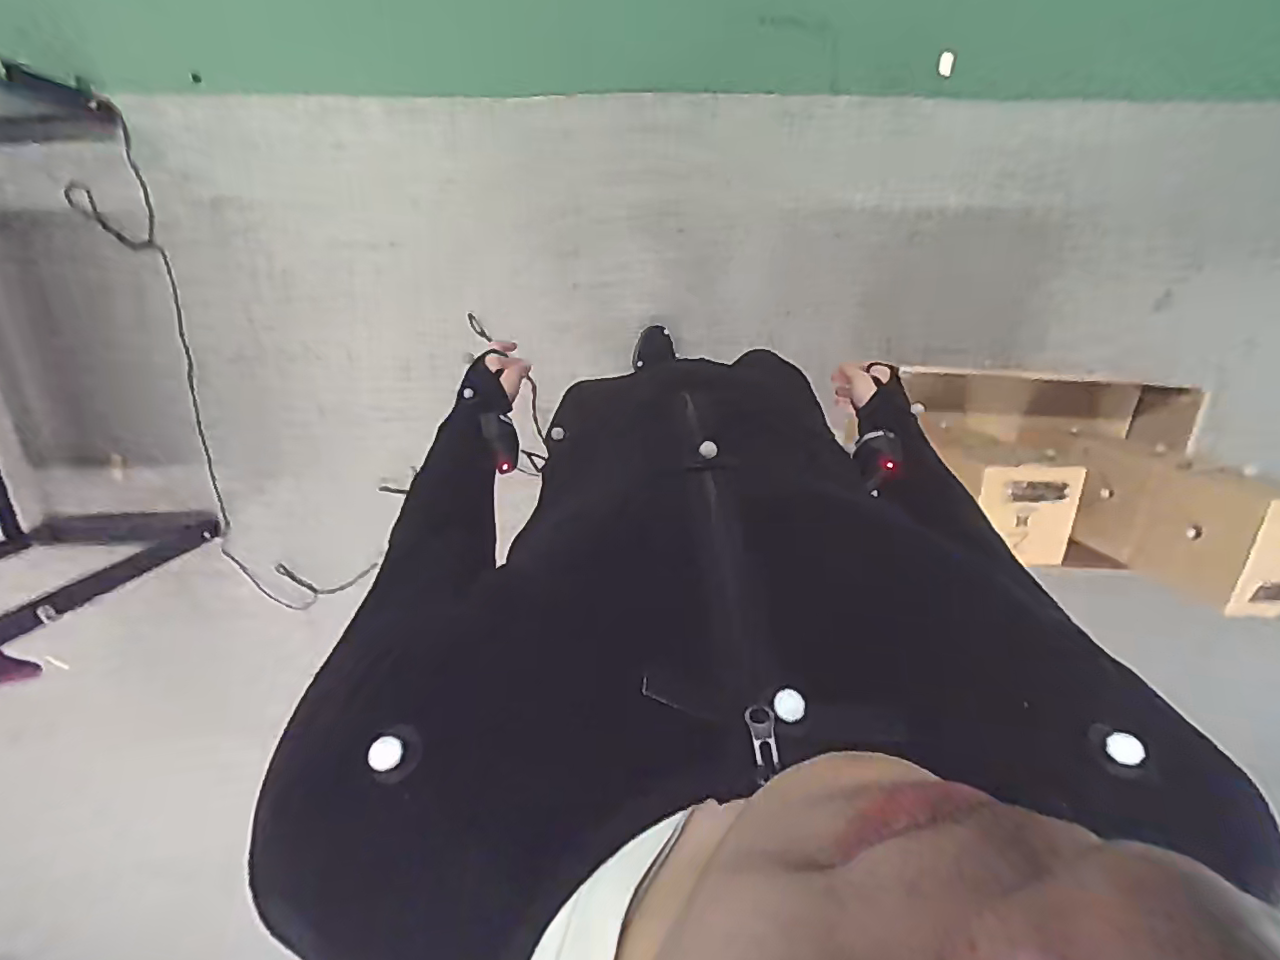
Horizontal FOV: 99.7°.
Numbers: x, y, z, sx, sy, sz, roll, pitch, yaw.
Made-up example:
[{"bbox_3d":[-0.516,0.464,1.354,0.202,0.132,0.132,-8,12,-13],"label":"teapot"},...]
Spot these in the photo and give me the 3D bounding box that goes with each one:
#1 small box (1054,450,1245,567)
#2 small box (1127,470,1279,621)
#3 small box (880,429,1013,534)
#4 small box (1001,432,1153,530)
[{"bbox_3d":[0.900,0.048,0.976,0.168,0.176,0.179,5,105,-1],"label":"small box"},{"bbox_3d":[0.900,0.095,0.817,0.168,0.176,0.179,4,105,-1],"label":"small box"},{"bbox_3d":[0.622,-0.002,1.123,0.168,0.176,0.179,2,106,-2],"label":"small box"},{"bbox_3d":[0.896,0.002,1.133,0.168,0.176,0.179,6,107,-2],"label":"small box"}]
